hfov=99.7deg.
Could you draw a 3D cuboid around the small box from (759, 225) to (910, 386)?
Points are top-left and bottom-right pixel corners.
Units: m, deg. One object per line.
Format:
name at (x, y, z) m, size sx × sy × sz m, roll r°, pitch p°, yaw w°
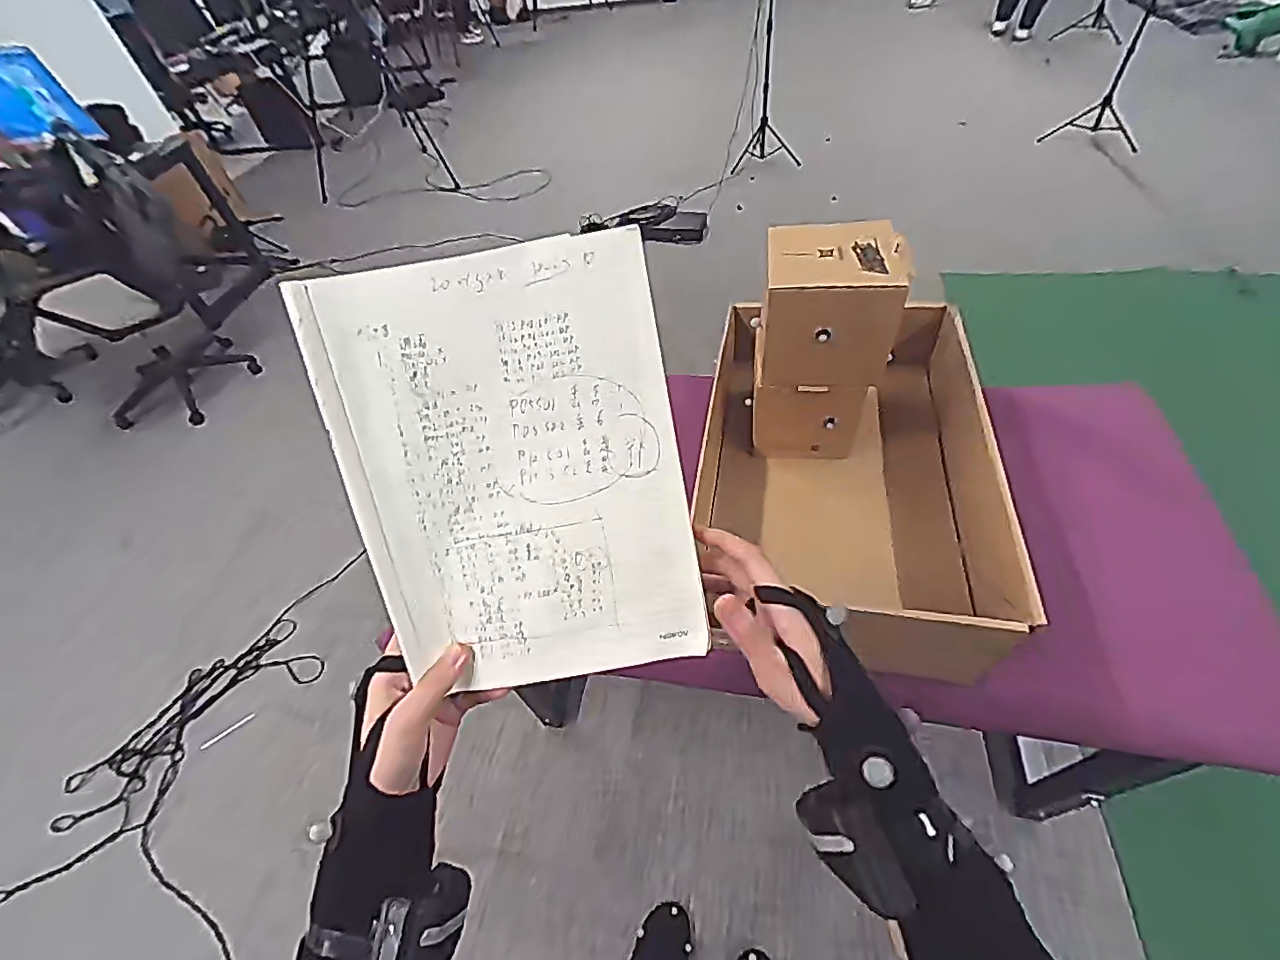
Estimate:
small box at (0.272, -0.253, 0.798) m, size 0.179 × 0.176 × 0.168 m, roll 3°, pitch 51°, yaw 10°
